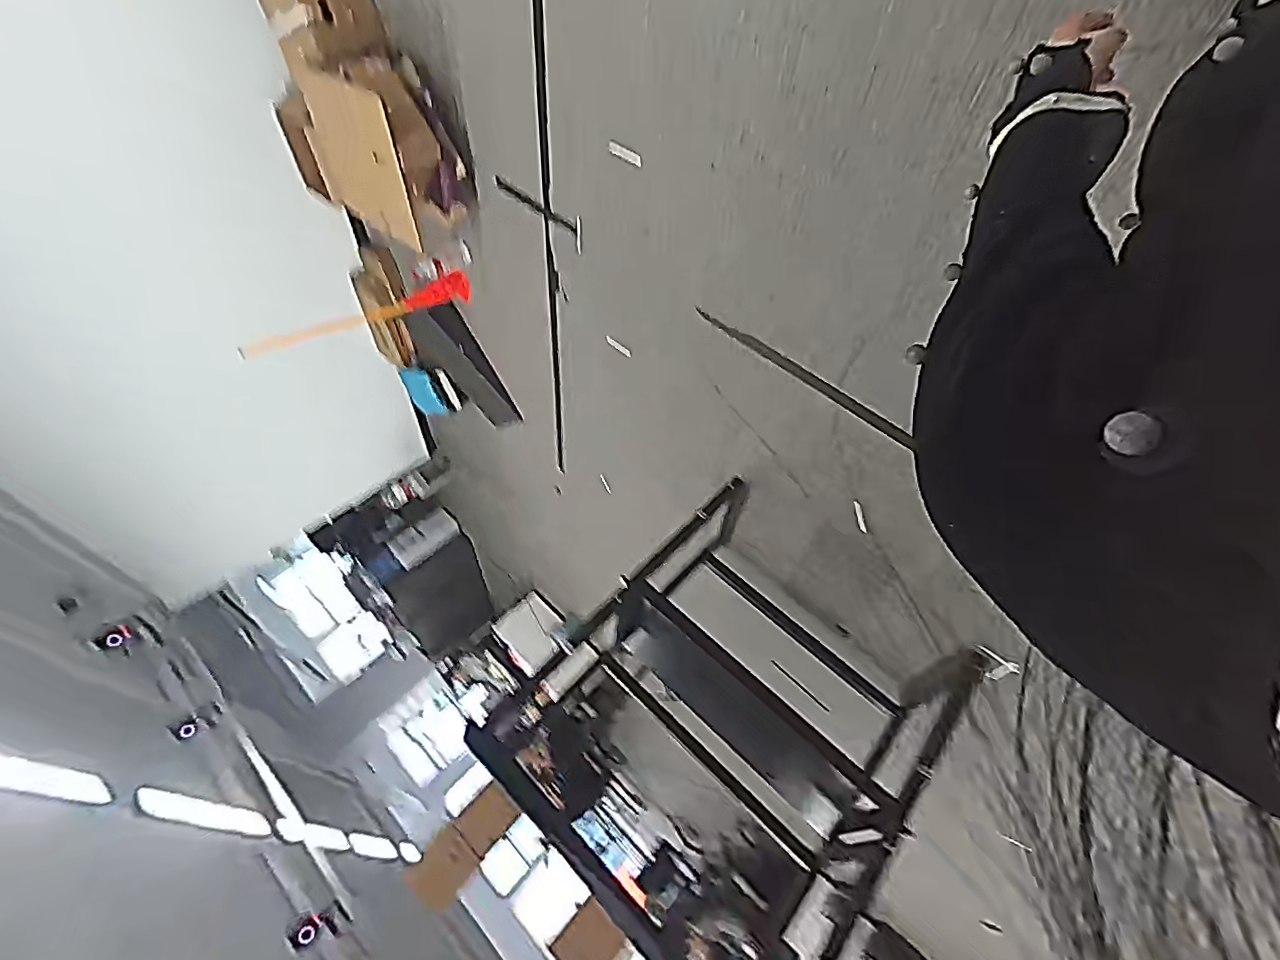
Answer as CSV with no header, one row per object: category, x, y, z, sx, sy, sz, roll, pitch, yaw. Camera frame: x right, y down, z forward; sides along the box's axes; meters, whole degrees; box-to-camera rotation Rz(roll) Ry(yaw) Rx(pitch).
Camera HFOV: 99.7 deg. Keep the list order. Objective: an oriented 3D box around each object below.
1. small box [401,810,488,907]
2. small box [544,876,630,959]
small box,-0.571,1.112,1.606,0.168,0.176,0.179,40,150,16
small box,-0.144,1.270,1.529,0.179,0.176,0.168,38,150,23
